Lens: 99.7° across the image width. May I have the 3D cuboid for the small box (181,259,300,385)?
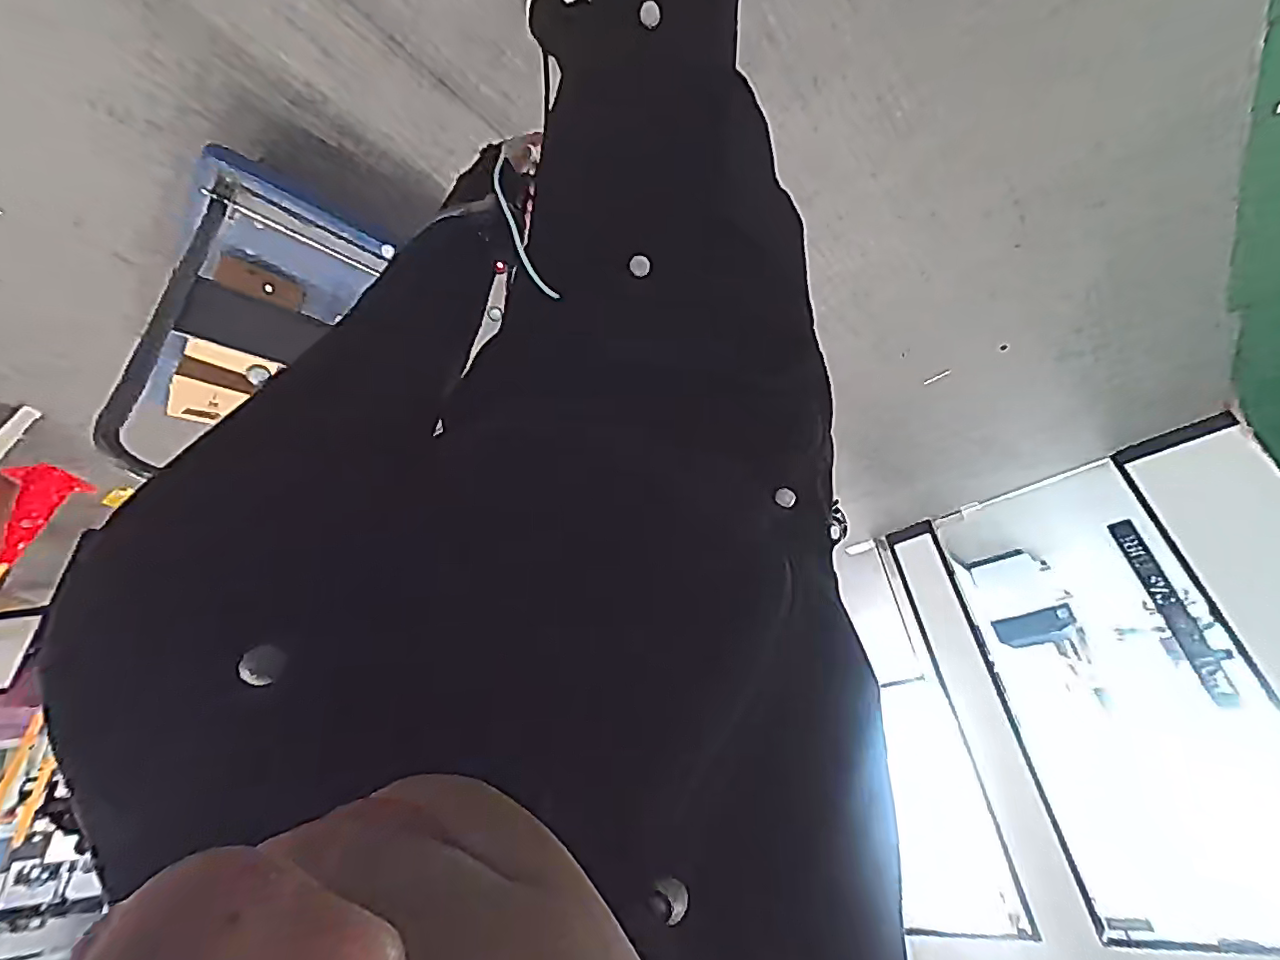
[{"bbox_3d":[-0.894,-0.352,1.219,0.168,0.176,0.179,21,138,-40],"label":"small box"}]

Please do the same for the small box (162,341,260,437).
[{"bbox_3d":[-1.066,-0.242,1.362,0.168,0.176,0.179,17,140,-38],"label":"small box"}]
